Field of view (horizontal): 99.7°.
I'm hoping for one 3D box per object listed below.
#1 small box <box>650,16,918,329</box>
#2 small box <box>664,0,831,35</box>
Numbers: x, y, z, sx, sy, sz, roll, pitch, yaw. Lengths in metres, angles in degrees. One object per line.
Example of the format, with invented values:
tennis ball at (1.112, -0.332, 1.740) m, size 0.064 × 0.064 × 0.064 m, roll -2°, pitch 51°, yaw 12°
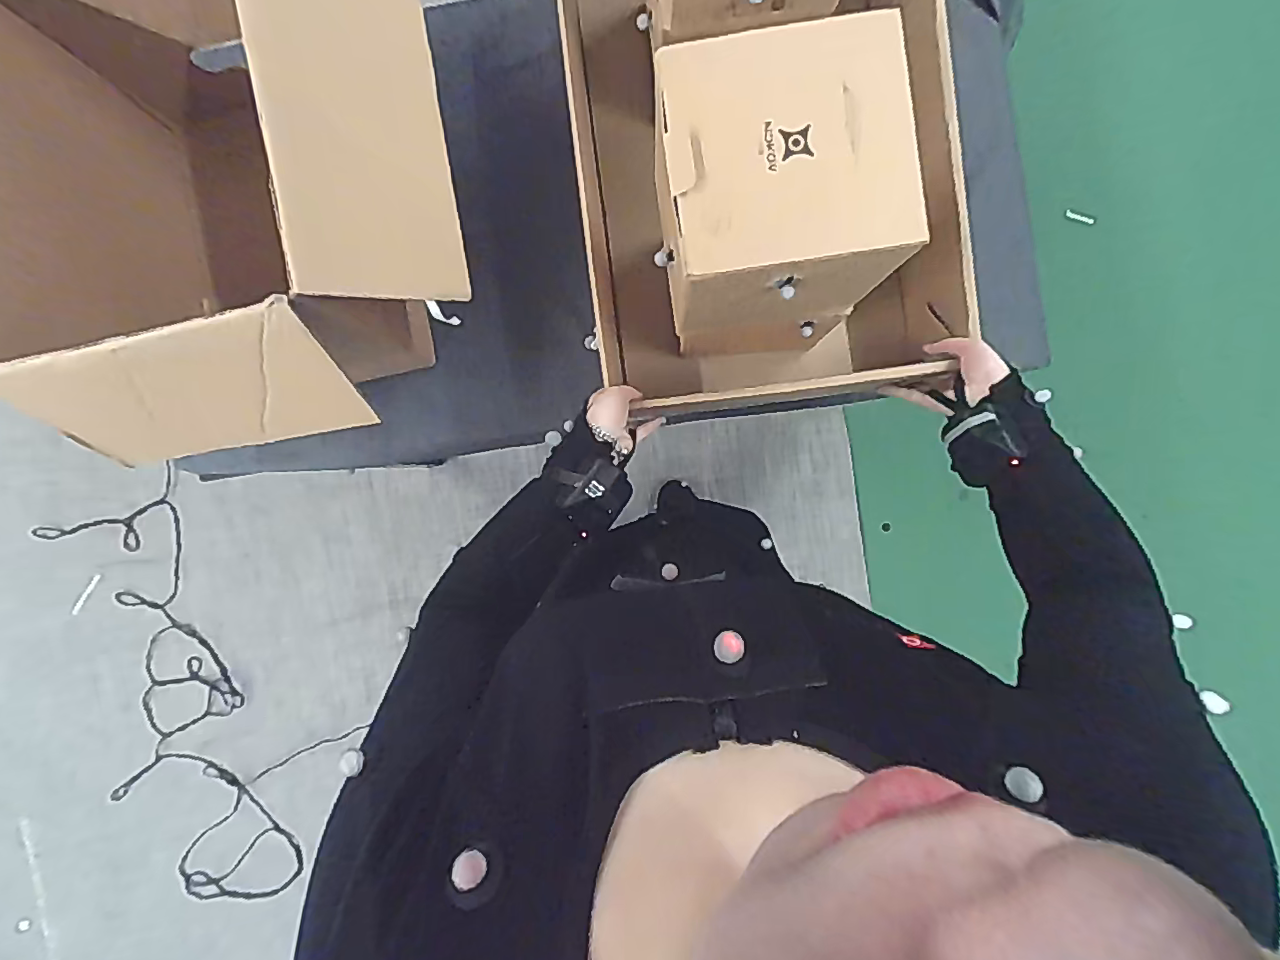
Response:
small box at (0.106, -0.239, 0.468) m, size 0.179 × 0.176 × 0.168 m, roll -8°, pitch 92°, yaw 1°
small box at (0.096, -0.533, 0.453) m, size 0.168 × 0.176 × 0.179 m, roll -7°, pitch 93°, yaw 2°
